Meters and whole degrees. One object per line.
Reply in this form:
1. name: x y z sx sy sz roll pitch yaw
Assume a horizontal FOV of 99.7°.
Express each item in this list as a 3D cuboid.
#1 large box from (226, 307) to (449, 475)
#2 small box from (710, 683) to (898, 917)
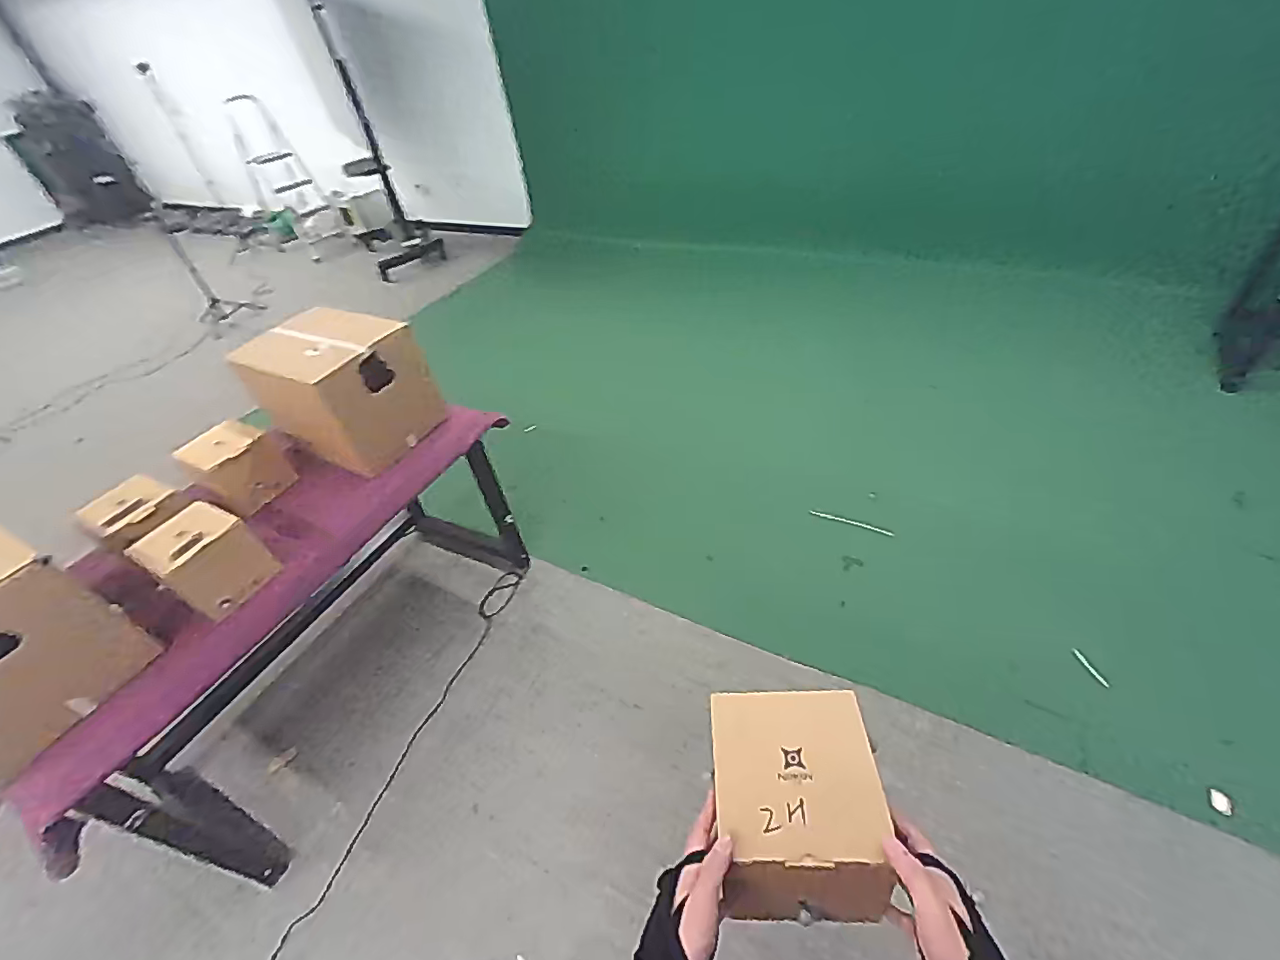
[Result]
1. large box: -0.835 -0.260 1.535 0.408 0.320 0.320 17 50 24
2. small box: 0.167 0.353 0.607 0.168 0.176 0.179 -5 36 7
